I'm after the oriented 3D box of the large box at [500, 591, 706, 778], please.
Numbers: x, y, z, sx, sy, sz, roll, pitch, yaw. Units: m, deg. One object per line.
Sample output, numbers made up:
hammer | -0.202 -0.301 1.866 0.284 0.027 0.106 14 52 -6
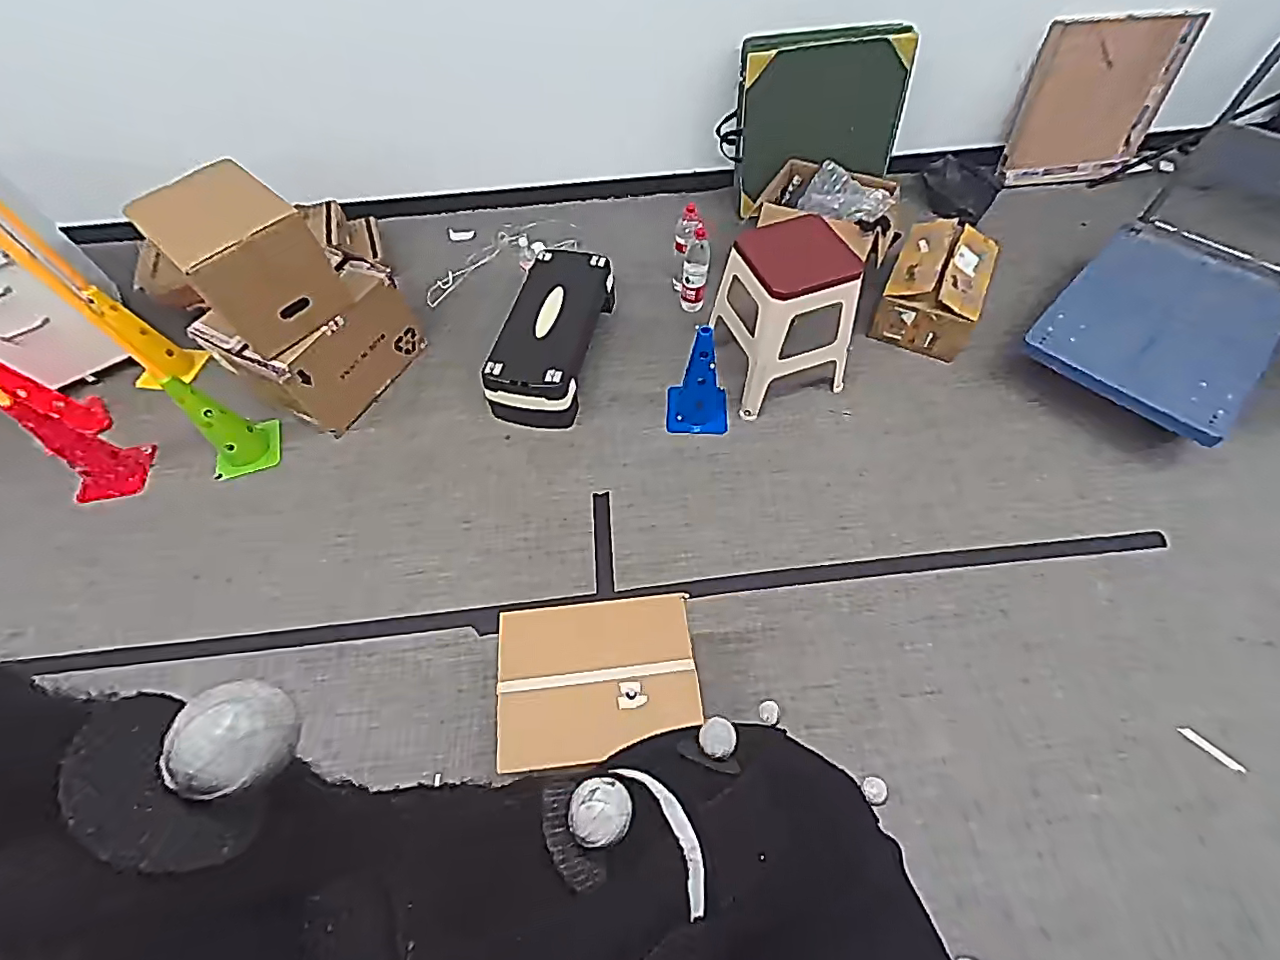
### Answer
large box | -0.086 0.473 1.232 0.408 0.320 0.320 -5 59 -3
